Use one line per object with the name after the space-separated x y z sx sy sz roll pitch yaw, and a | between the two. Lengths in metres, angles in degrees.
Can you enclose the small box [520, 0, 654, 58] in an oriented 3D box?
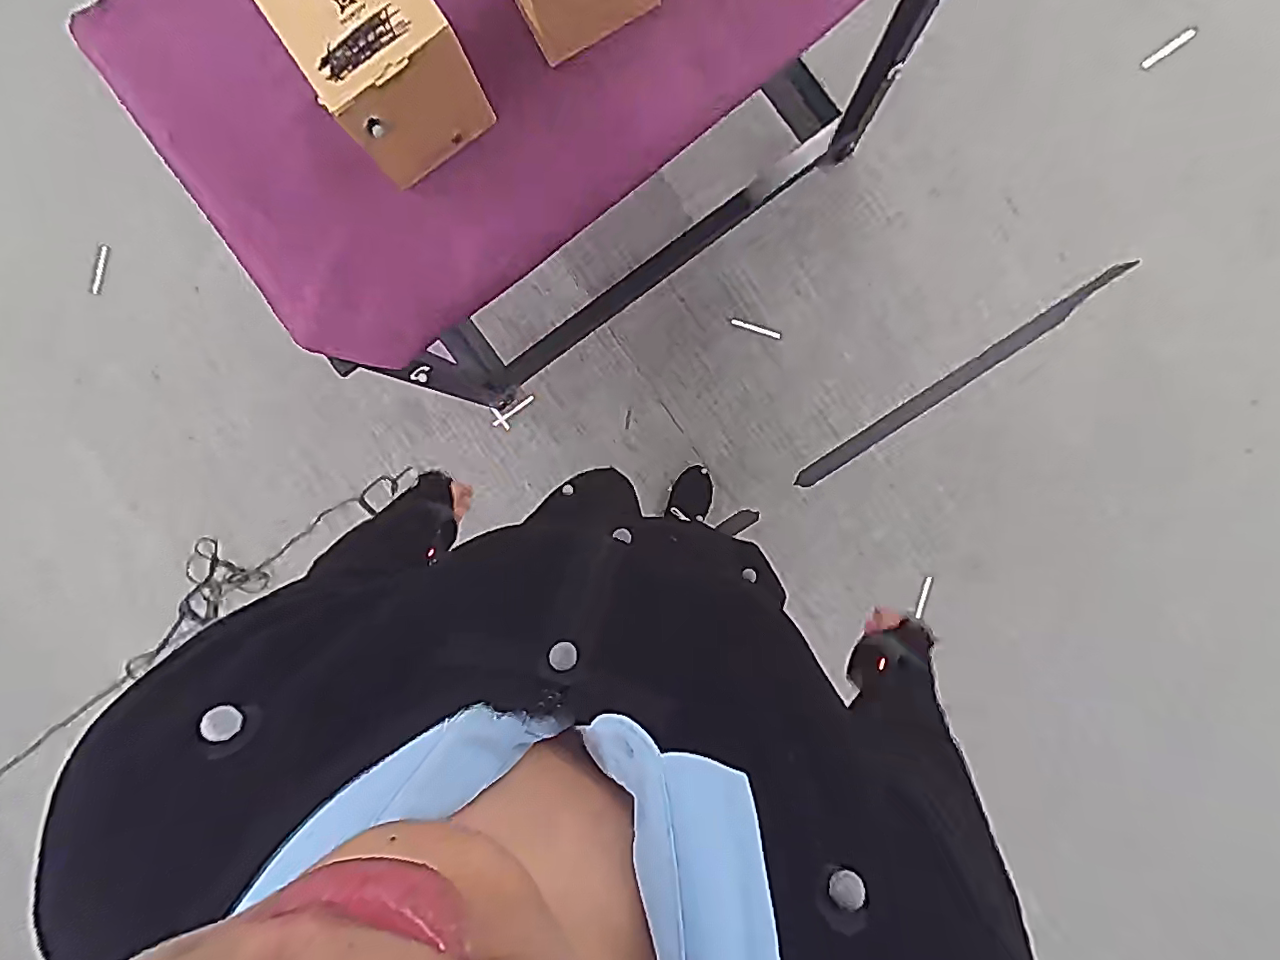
-0.087 -0.679 0.662 0.179 0.176 0.168 -27 90 3 | small box
